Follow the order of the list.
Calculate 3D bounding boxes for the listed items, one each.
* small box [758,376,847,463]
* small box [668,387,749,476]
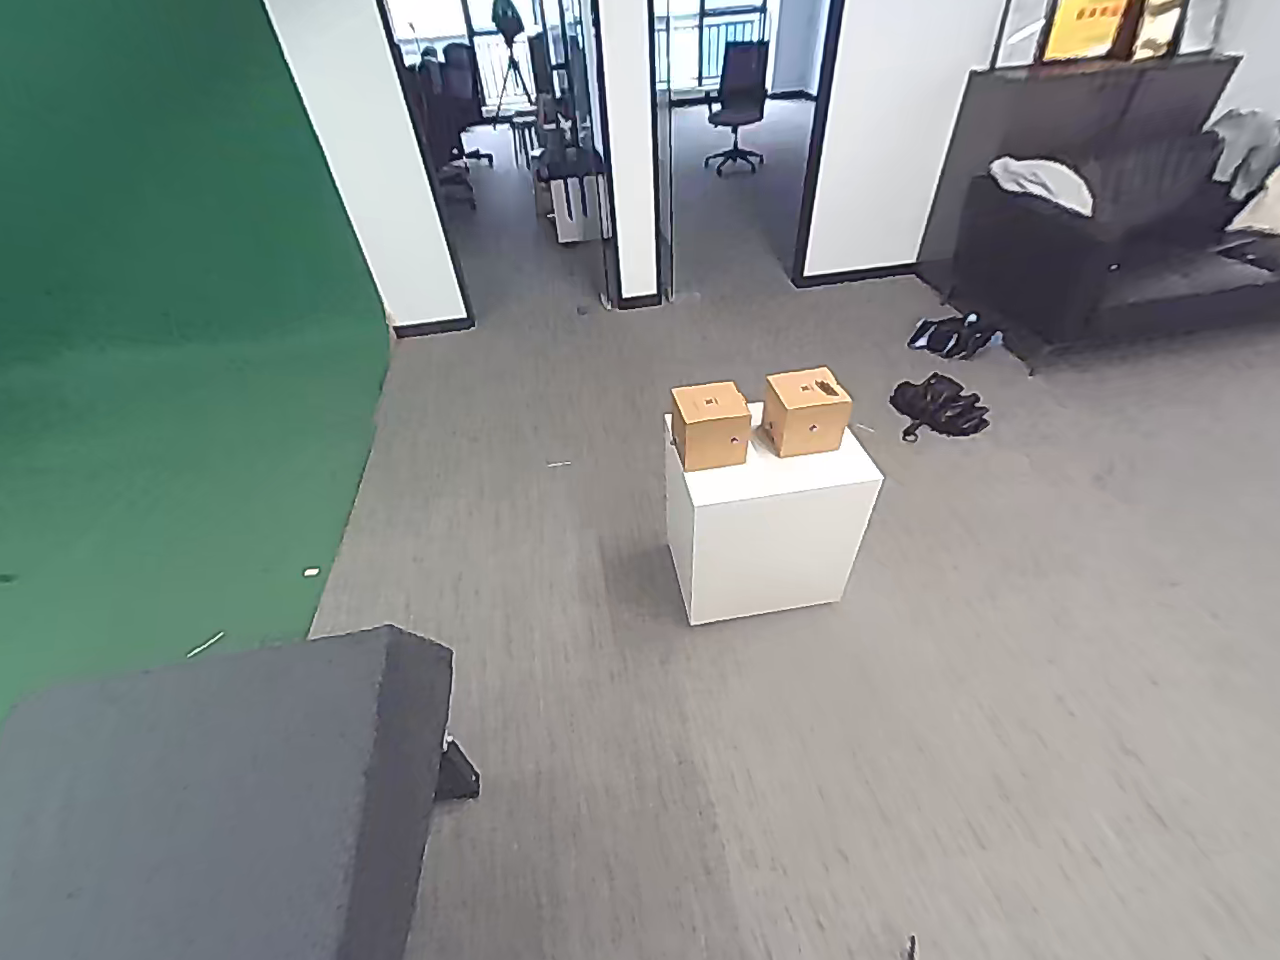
[{"bbox_3d":[0.439,-0.165,1.491,0.179,0.176,0.168,-8,42,-5],"label":"small box"},{"bbox_3d":[0.177,-0.131,1.462,0.179,0.176,0.168,-8,41,-8],"label":"small box"}]
